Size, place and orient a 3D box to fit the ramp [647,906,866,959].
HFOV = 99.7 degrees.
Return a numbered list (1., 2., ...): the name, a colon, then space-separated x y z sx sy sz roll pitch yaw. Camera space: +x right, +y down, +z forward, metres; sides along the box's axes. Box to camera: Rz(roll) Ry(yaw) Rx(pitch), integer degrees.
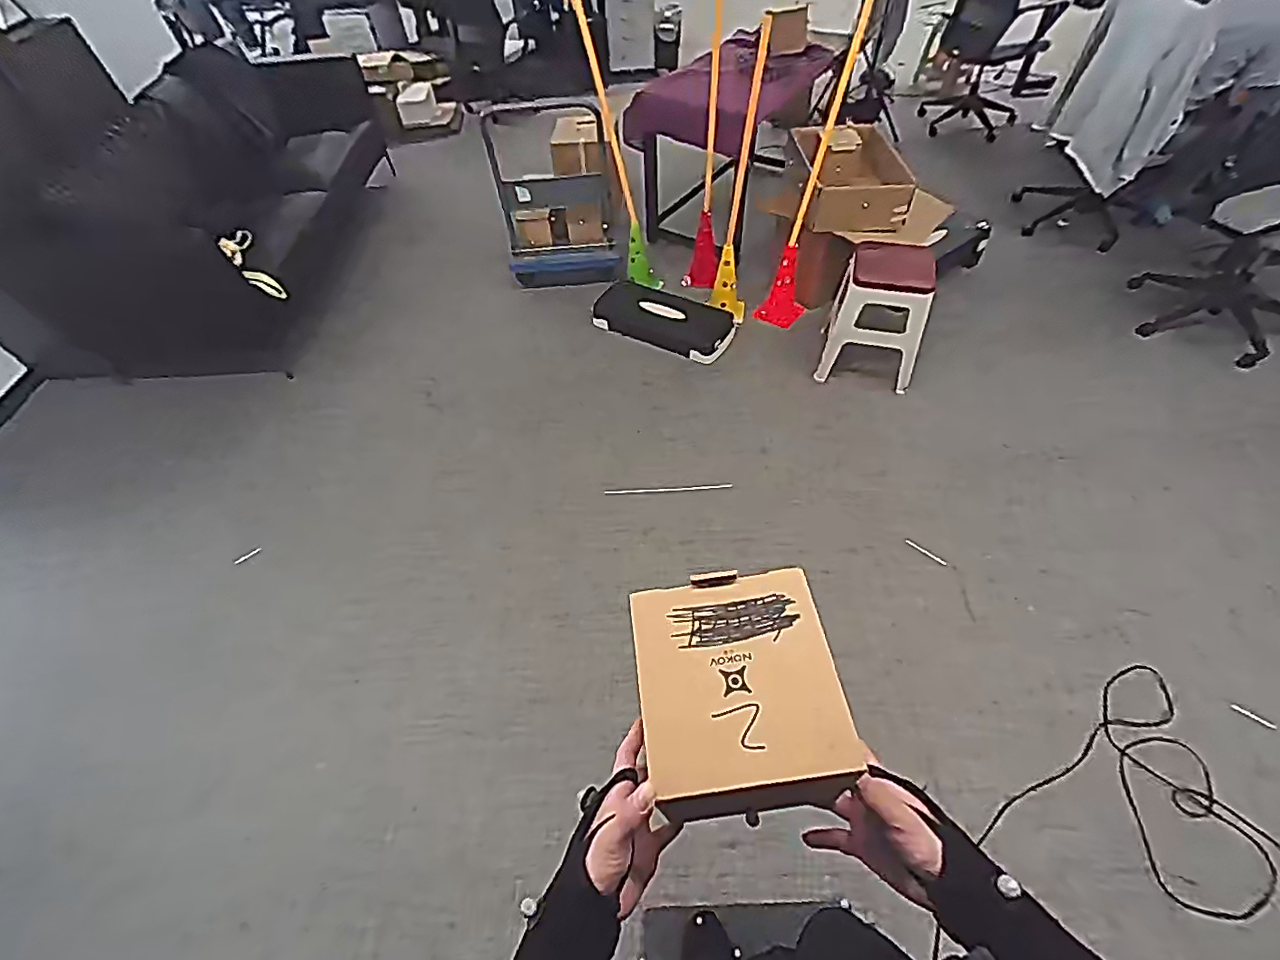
1. ramp: 0.265 1.352 0.910 0.509 0.206 0.991 -5 52 2
